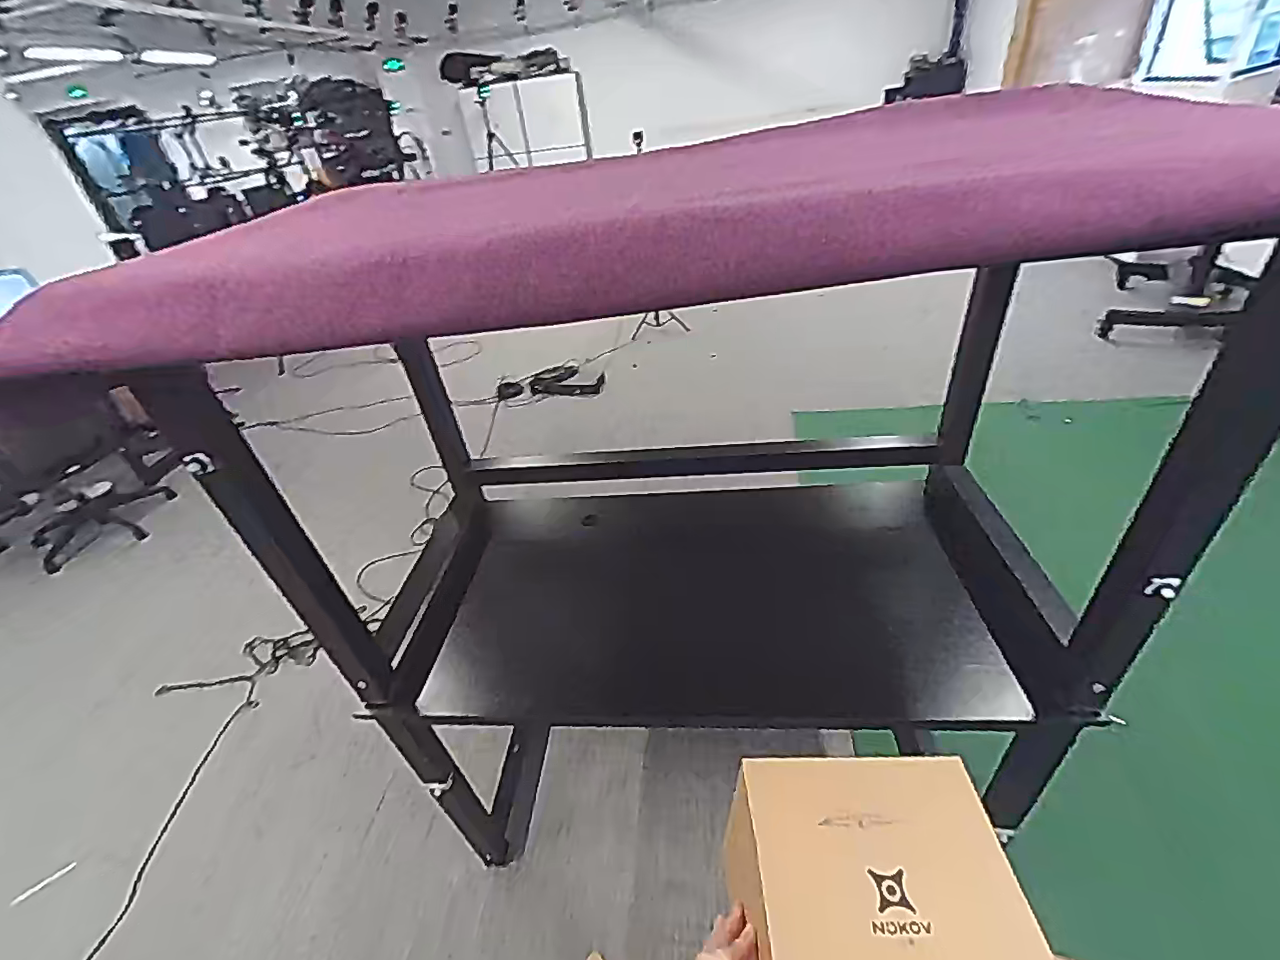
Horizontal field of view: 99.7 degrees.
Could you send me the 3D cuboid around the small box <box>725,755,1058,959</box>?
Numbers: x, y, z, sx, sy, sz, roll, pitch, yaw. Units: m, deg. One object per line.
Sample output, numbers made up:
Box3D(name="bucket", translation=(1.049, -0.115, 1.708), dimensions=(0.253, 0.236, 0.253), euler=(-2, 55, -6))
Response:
Box3D(name="small box", translation=(0.155, 0.319, 0.376), dimensions=(0.168, 0.176, 0.179), euler=(1, 37, 0))
